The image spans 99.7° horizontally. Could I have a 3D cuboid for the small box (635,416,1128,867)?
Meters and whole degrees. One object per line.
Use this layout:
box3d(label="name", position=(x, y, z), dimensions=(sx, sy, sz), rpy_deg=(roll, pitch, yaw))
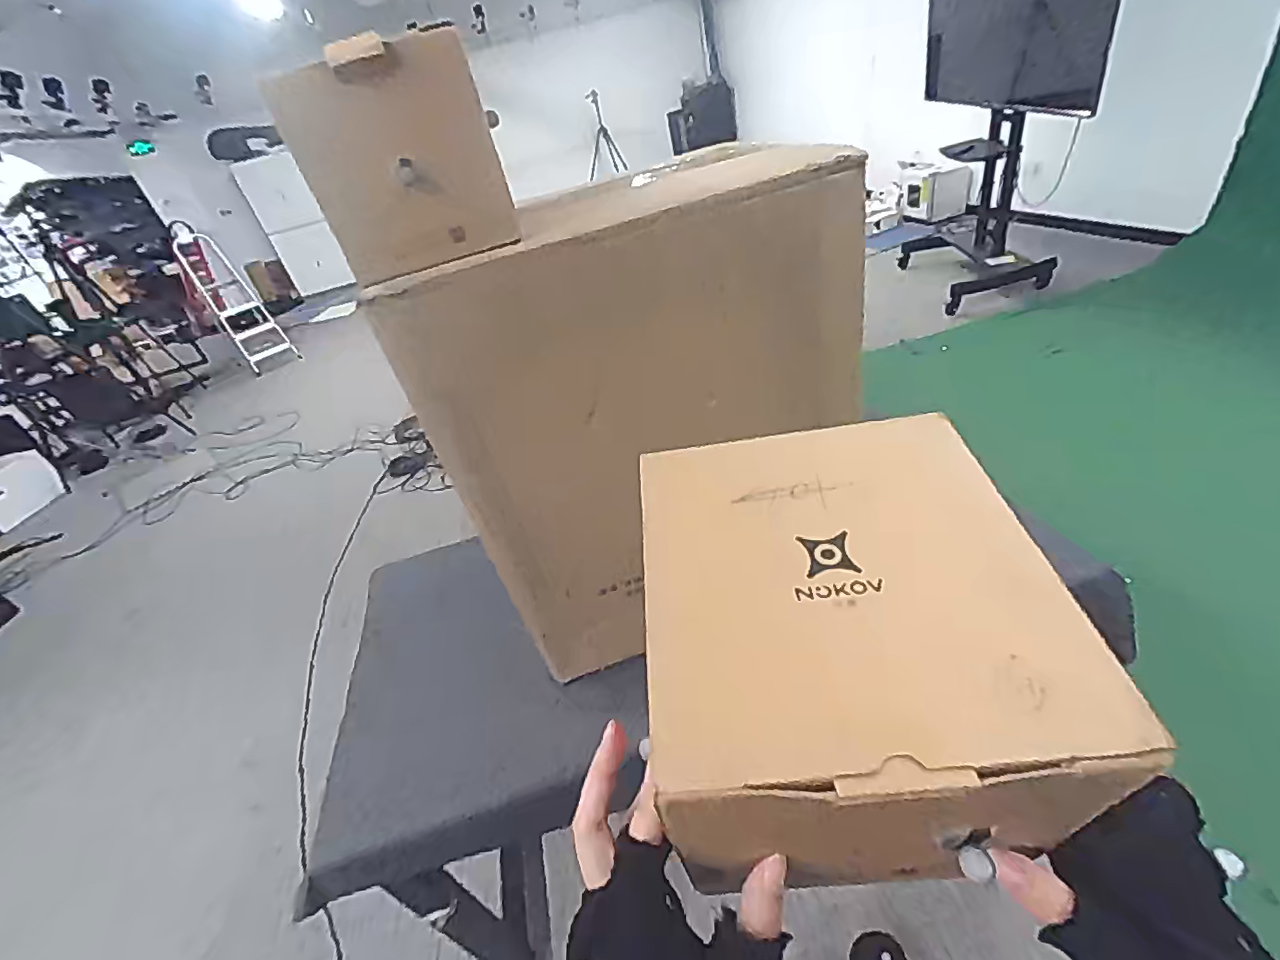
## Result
box3d(label="small box", position=(0.092, 0.092, 0.296), dimensions=(0.168, 0.176, 0.179), rpy_deg=(-7, 42, 6))

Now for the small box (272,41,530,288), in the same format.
box3d(label="small box", position=(-0.219, -0.311, 0.548), dimensions=(0.168, 0.176, 0.179), rpy_deg=(-18, 37, -4))
